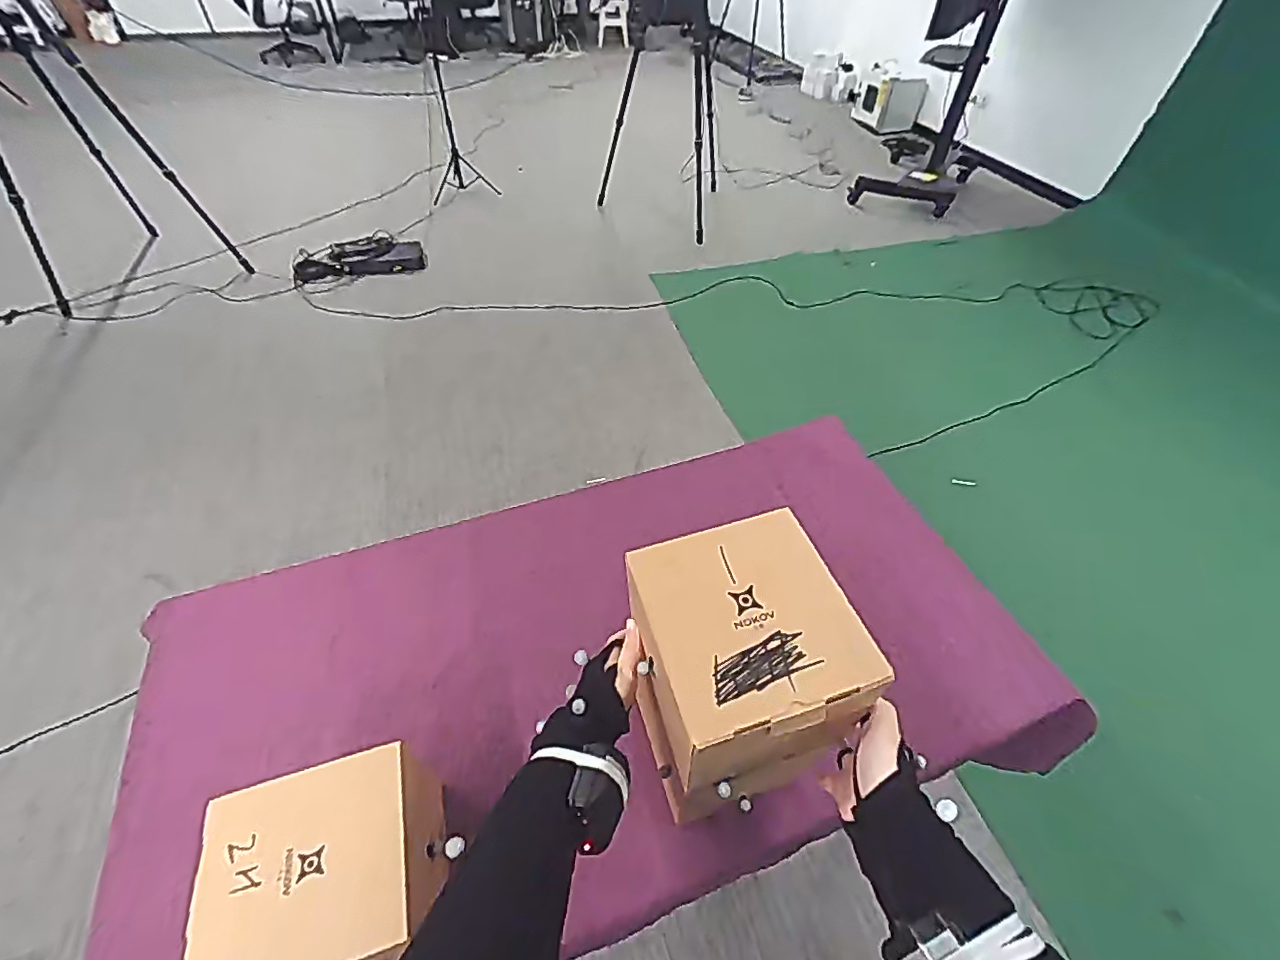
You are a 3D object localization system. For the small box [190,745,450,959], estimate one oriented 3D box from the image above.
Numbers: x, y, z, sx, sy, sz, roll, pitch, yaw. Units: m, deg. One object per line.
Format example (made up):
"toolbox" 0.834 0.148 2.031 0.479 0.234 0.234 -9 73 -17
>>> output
"small box" -0.299 0.398 0.543 0.179 0.176 0.168 -14 50 -13
